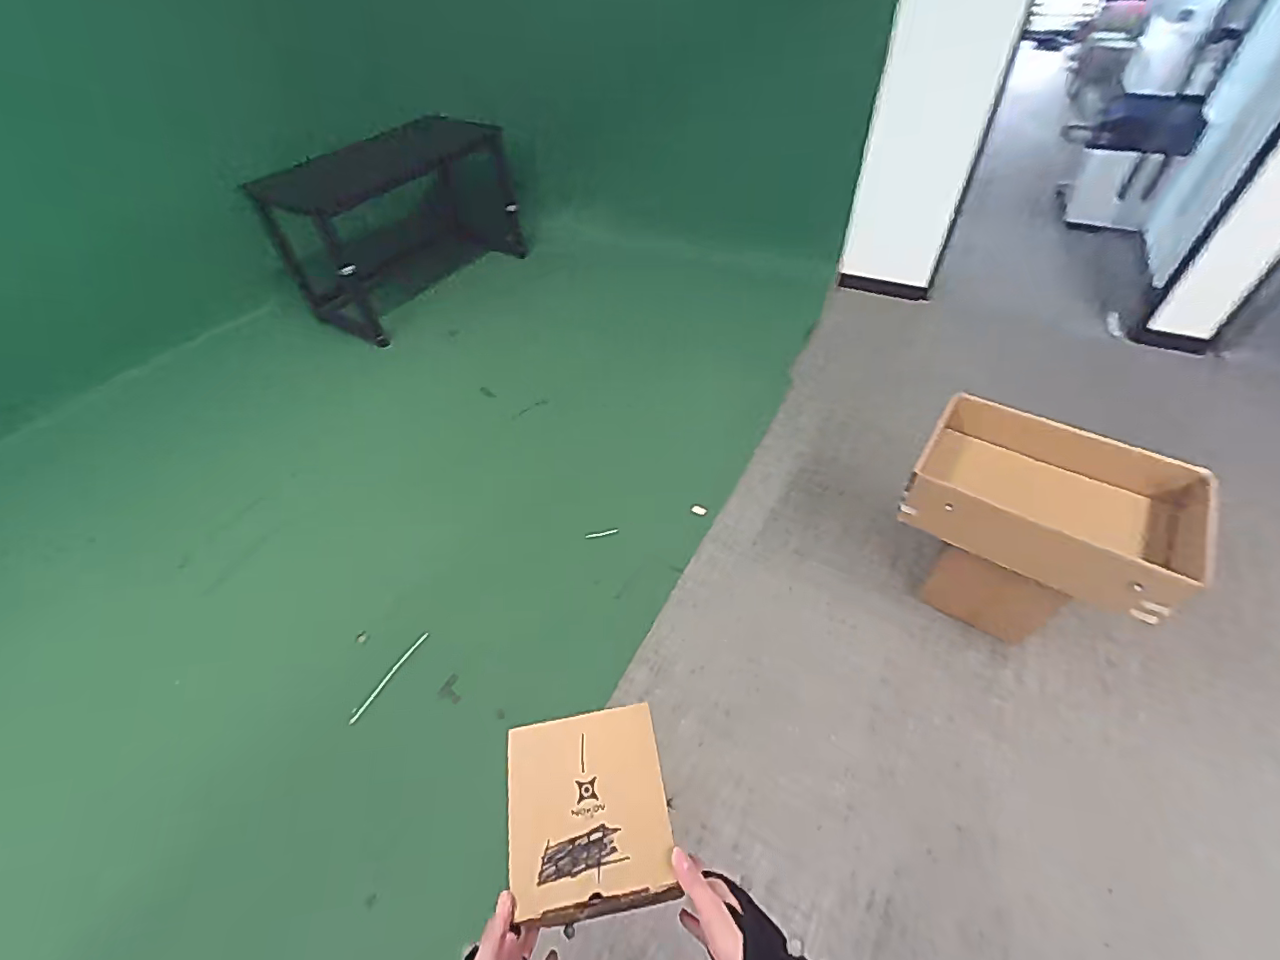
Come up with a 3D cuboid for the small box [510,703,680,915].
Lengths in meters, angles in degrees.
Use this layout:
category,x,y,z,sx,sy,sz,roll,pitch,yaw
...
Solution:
category,x,y,z,sx,sy,sz,roll,pitch,yaw
small box,-0.049,0.390,0.636,0.168,0.176,0.179,-10,48,-2
